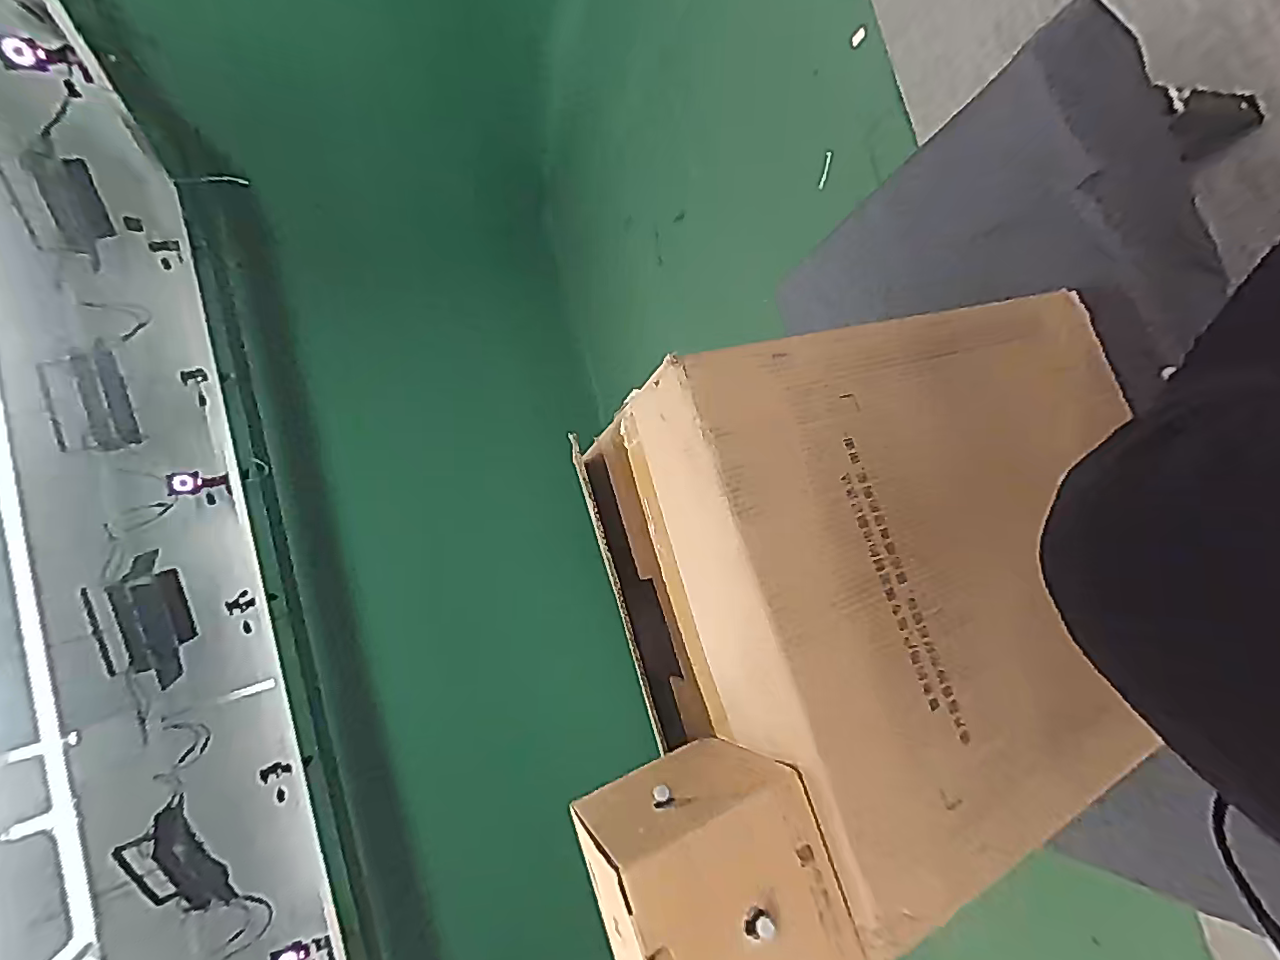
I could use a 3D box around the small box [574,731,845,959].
[{"bbox_3d":[0.060,0.355,0.499,0.179,0.176,0.168,-38,69,65],"label":"small box"}]
